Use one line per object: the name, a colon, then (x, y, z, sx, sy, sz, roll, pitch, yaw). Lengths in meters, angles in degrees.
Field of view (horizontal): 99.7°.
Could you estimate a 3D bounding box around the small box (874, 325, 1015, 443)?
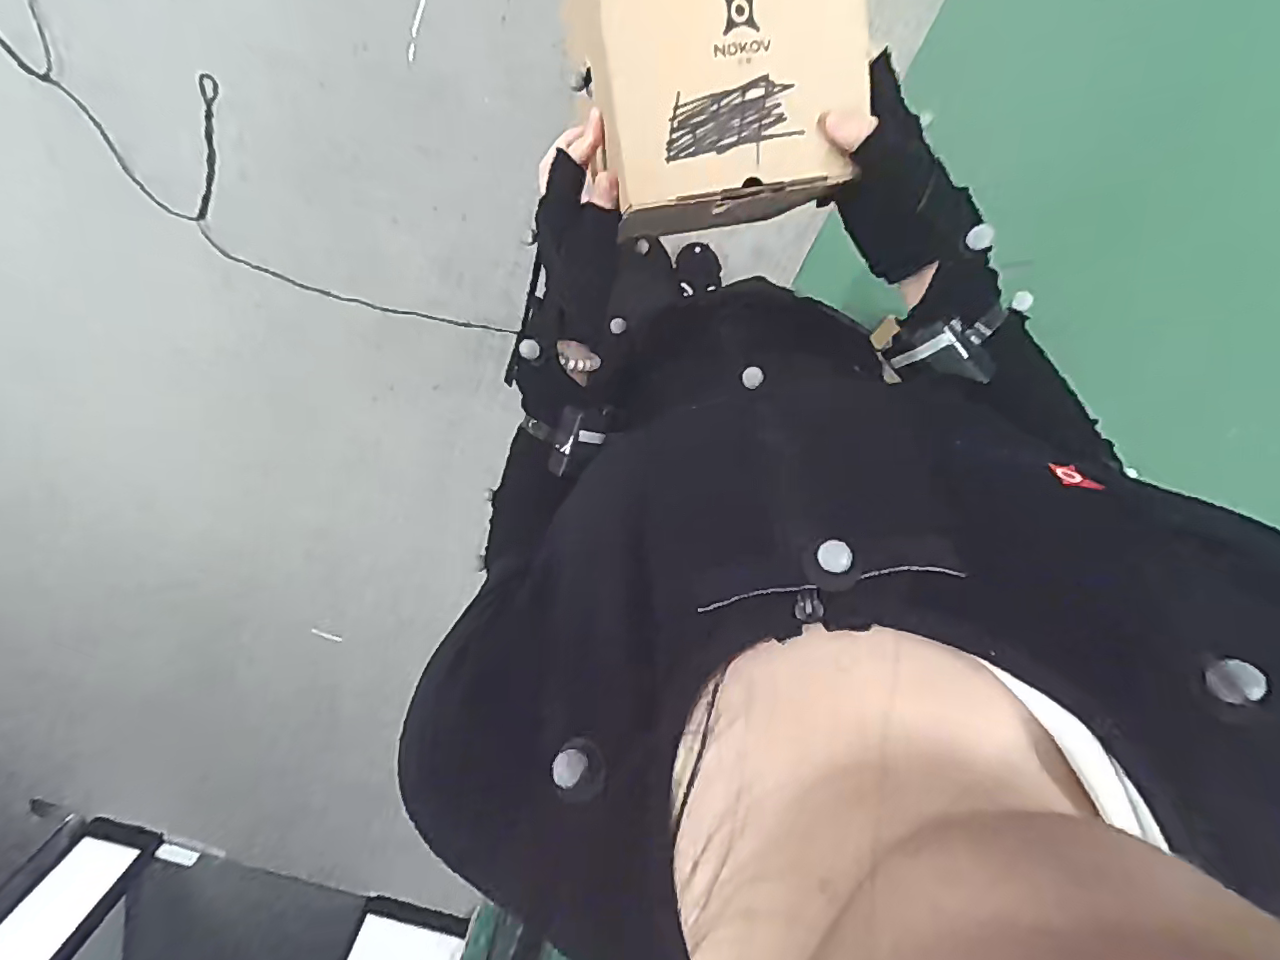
small box: (0.641, -0.215, 1.167, 0.168, 0.176, 0.179, 27, 113, -9)
